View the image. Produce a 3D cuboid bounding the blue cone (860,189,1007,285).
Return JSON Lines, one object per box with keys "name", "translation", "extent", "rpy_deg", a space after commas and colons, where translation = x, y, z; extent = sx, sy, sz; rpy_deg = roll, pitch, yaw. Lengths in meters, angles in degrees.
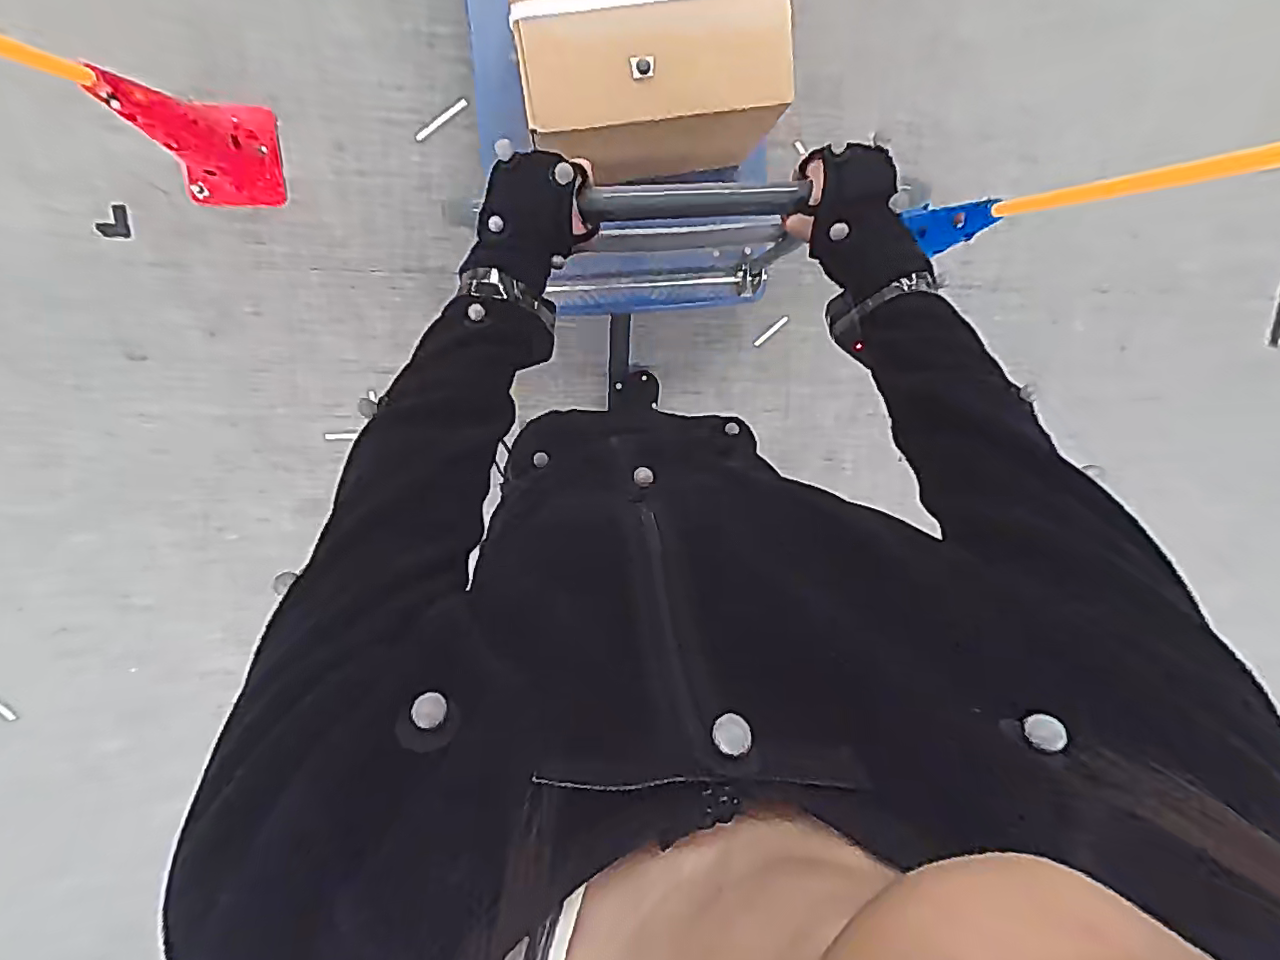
{"name": "blue cone", "translation": [0.660, -0.559, 1.201], "extent": [0.193, 0.380, 0.192], "rpy_deg": [-4, 102, -5]}
